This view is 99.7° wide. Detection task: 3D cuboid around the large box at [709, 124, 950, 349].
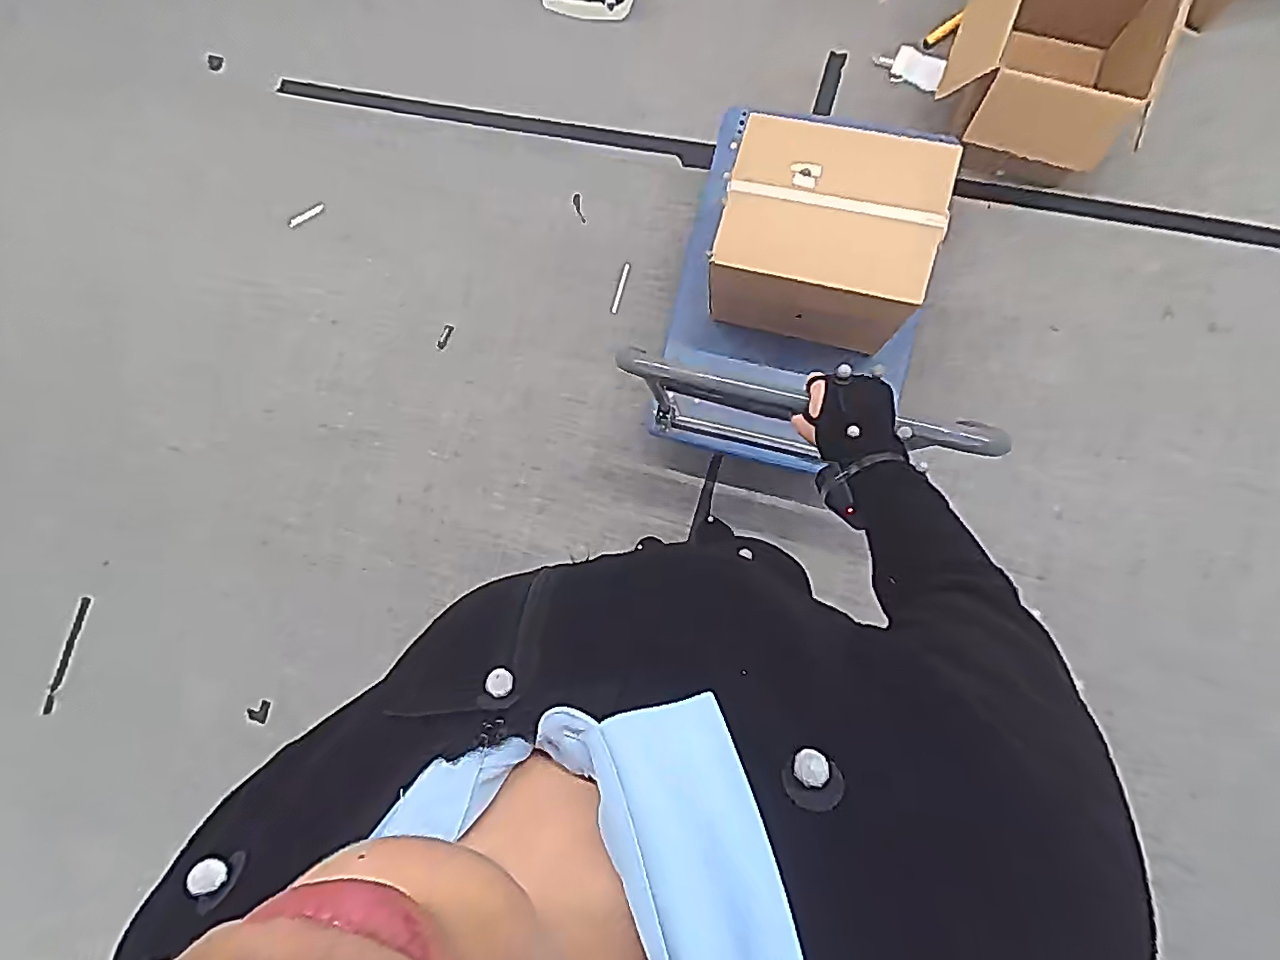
[{"bbox_3d":[0.387,-0.512,1.193,0.408,0.320,0.320,15,87,10],"label":"large box"}]
